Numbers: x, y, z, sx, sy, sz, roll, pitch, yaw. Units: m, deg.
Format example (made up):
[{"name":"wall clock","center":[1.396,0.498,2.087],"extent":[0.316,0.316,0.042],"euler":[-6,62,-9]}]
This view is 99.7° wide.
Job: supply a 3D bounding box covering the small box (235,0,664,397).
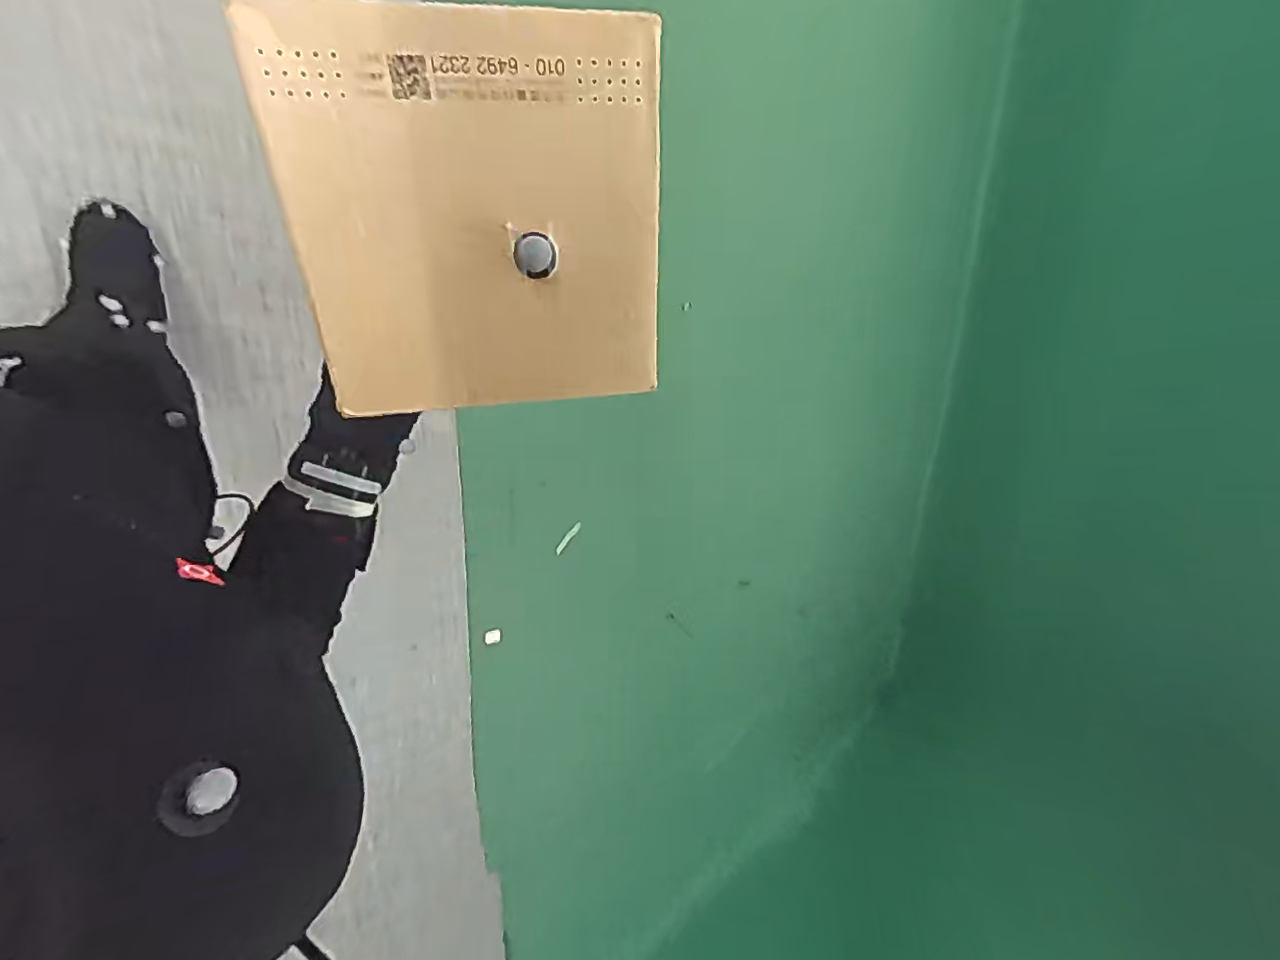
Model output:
[{"name":"small box","center":[-0.087,-0.163,0.312],"extent":[0.168,0.179,0.176],"euler":[-7,120,-10]}]
